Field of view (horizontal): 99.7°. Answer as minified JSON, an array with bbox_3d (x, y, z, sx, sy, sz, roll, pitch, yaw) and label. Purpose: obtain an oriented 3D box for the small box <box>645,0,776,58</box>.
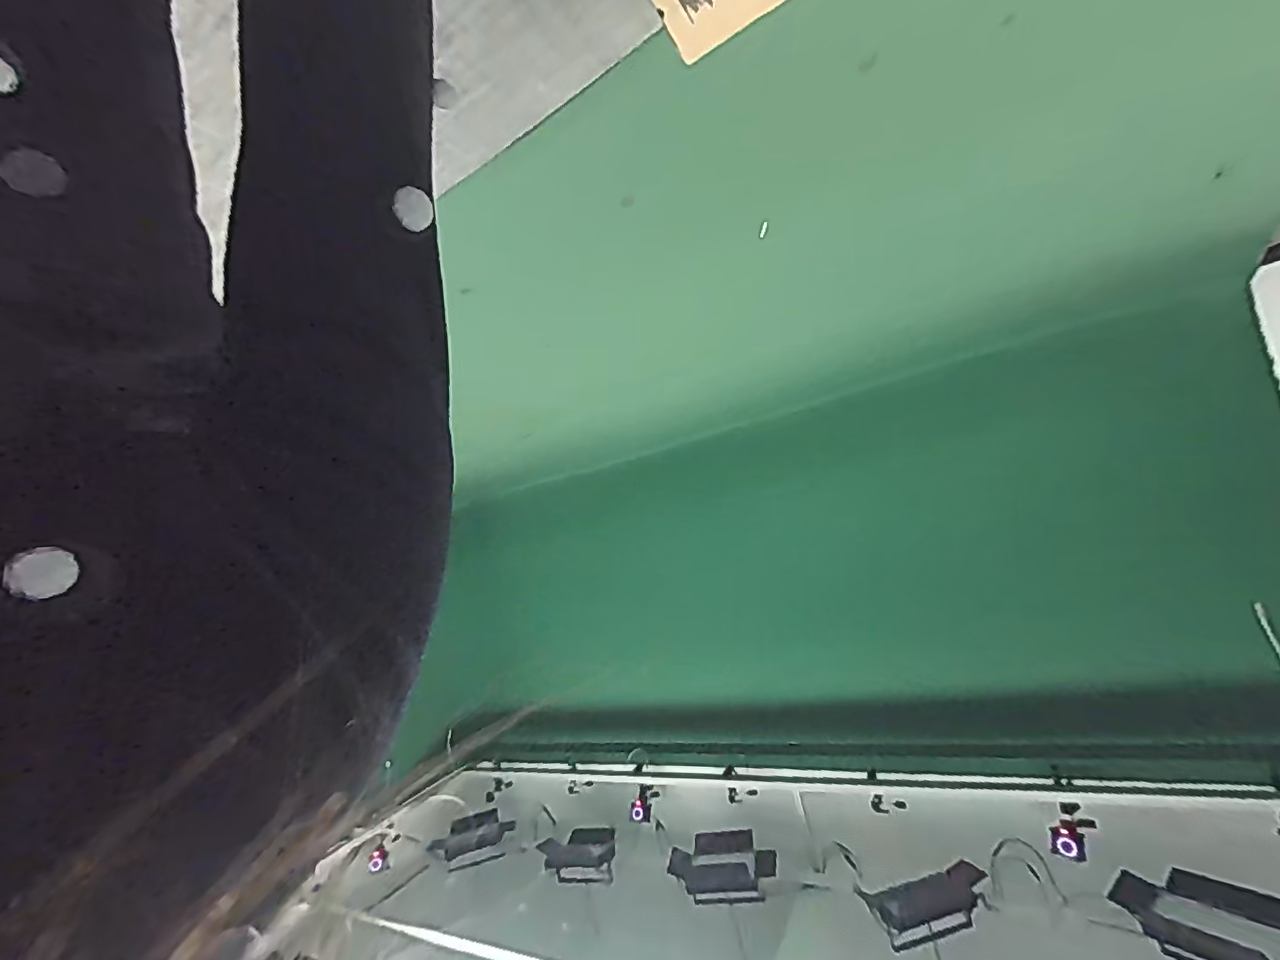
[{"bbox_3d":[0.068,-0.613,0.561,0.179,0.176,0.168,-16,174,27],"label":"small box"}]
